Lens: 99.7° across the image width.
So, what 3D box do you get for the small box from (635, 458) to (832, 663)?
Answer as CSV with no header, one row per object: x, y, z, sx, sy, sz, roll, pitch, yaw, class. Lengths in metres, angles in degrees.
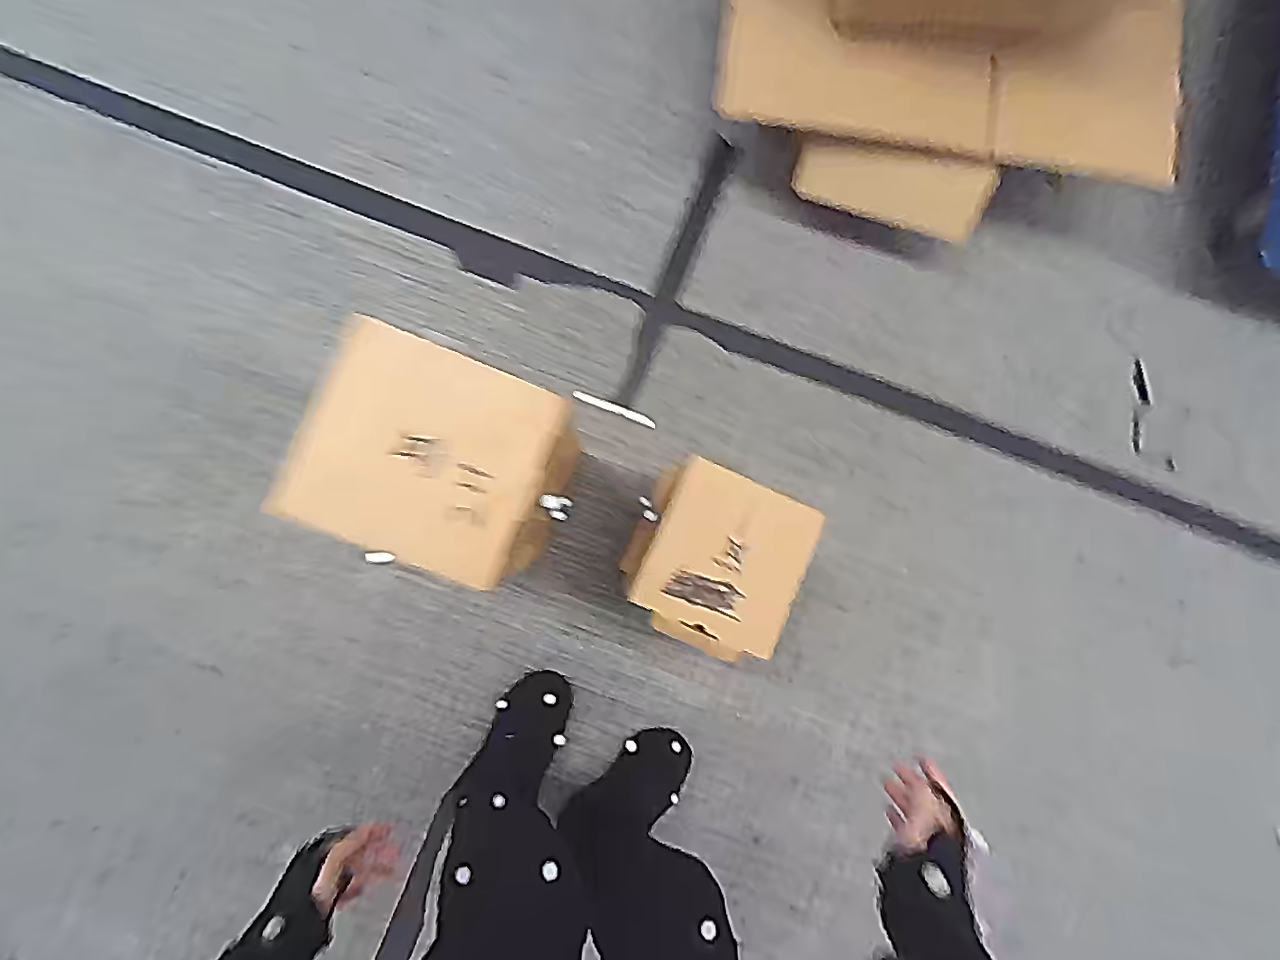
0.101,0.093,0.669,0.168,0.176,0.179,25,84,-2,small box

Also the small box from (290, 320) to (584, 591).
-0.161,-0.014,0.497,0.179,0.176,0.168,22,85,-4,small box

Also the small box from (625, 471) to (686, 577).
0.090,0.099,0.834,0.179,0.176,0.168,27,85,-2,small box

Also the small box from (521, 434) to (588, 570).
-0.173,-0.002,0.660,0.179,0.176,0.168,22,85,-3,small box
